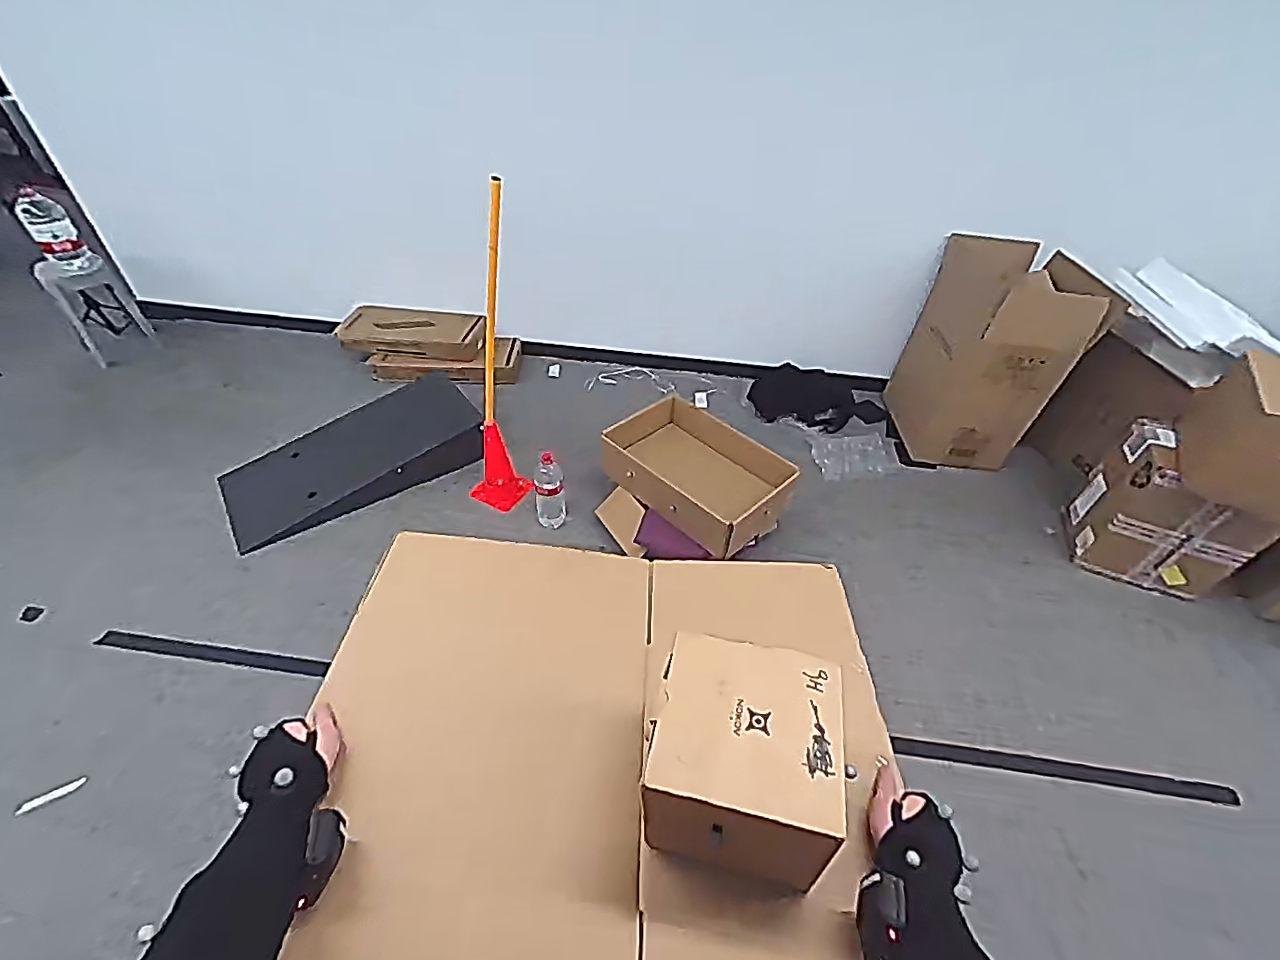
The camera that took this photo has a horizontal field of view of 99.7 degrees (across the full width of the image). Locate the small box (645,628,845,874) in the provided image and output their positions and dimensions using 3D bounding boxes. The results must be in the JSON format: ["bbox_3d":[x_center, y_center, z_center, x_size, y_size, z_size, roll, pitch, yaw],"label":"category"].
[{"bbox_3d":[0.112,0.288,0.578,0.179,0.176,0.168,7,42,12],"label":"small box"}]
